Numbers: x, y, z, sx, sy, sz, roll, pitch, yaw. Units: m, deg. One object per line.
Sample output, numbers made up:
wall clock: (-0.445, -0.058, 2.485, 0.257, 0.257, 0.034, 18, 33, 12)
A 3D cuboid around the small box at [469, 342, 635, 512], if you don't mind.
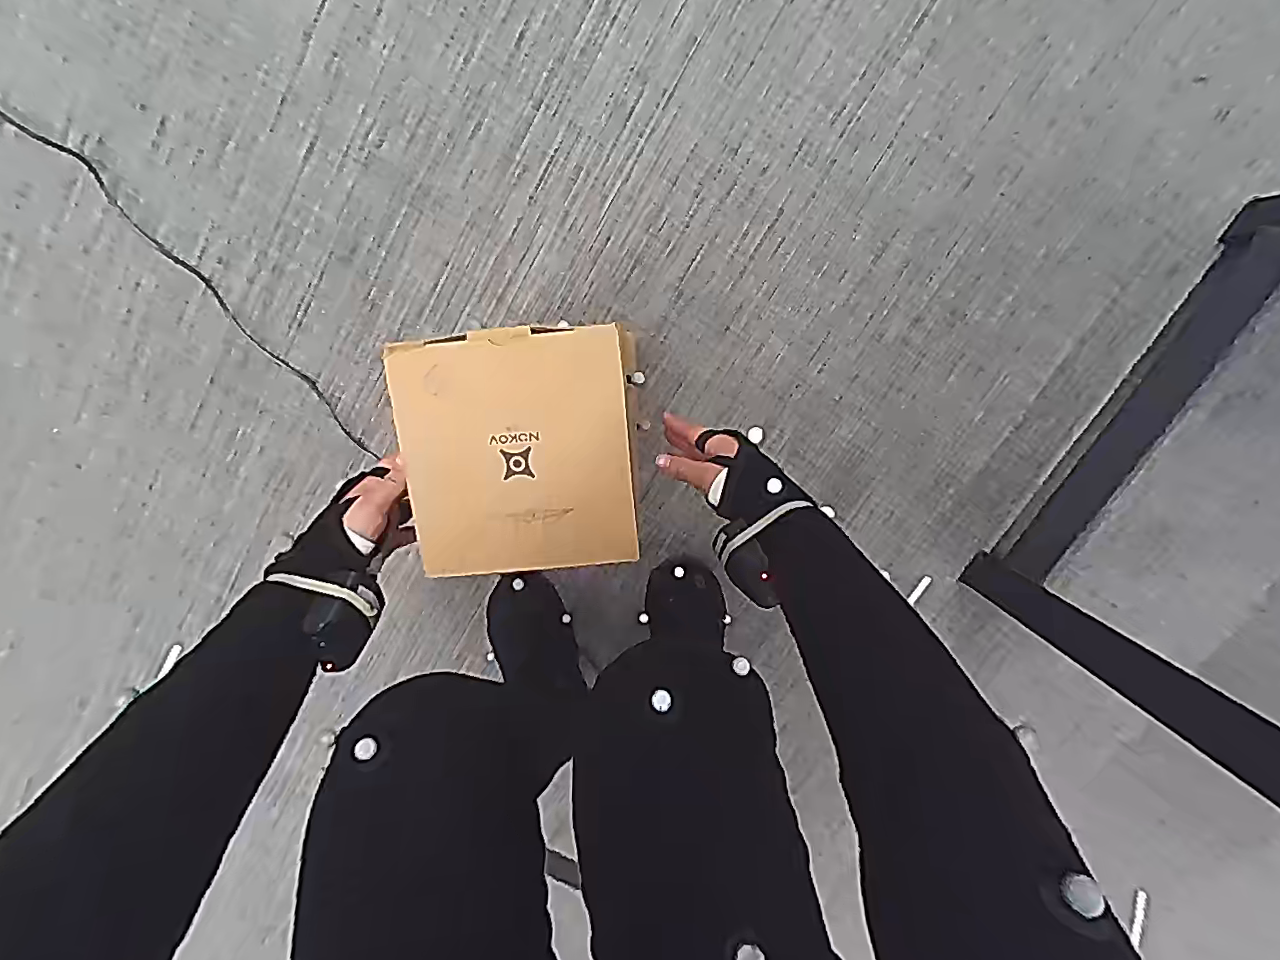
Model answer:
small box: (-0.089, -0.070, 0.633, 0.168, 0.176, 0.179, -1, 103, -1)
